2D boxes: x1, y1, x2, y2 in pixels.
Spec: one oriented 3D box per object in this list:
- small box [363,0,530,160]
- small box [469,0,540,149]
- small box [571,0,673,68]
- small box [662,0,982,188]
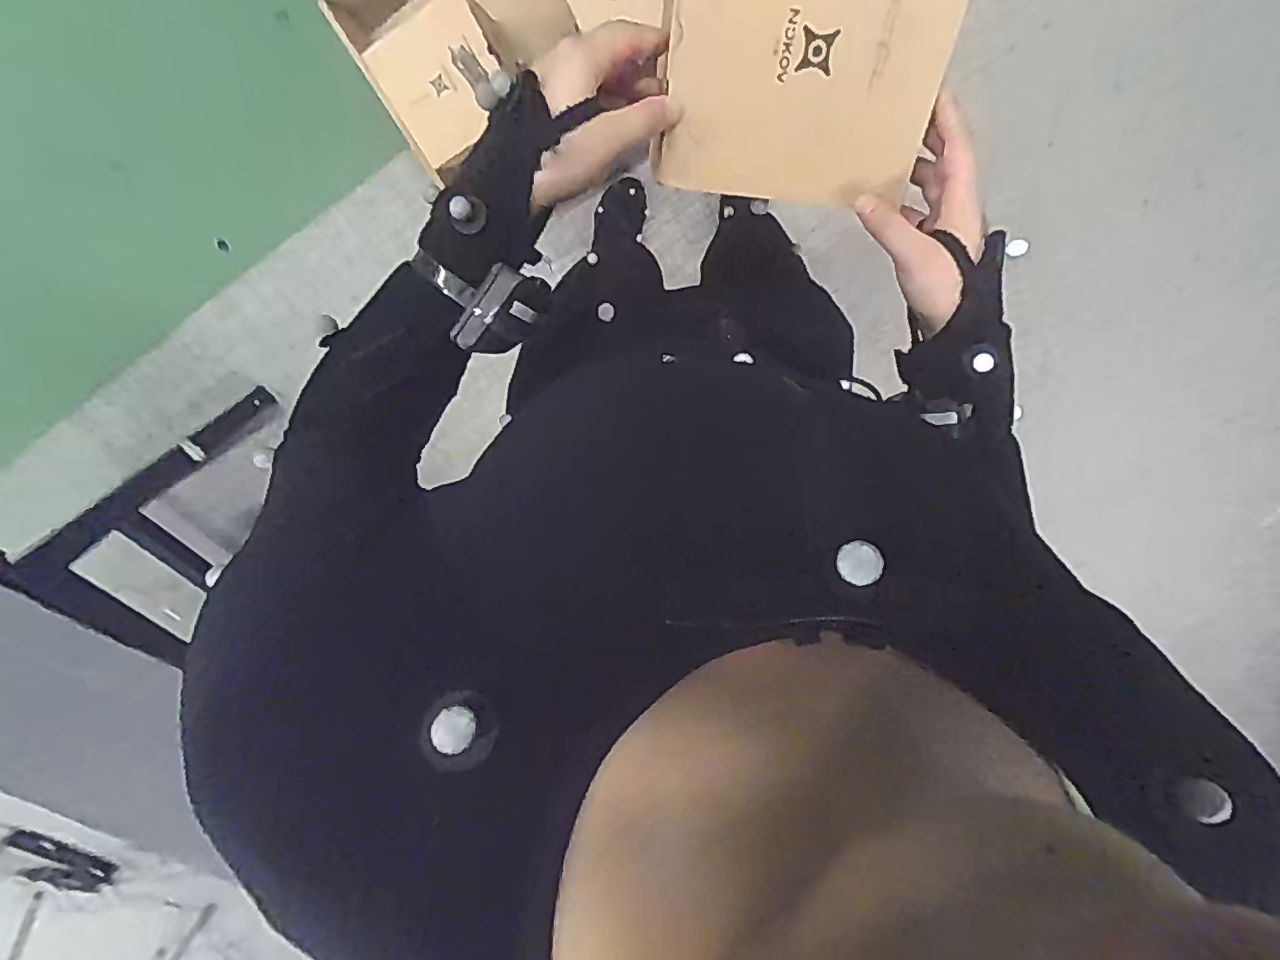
[{"bbox_3d":[-0.287,-0.637,0.852,0.179,0.176,0.168,-25,121,12],"label":"small box"},{"bbox_3d":[-0.300,-0.729,0.988,0.179,0.176,0.168,-26,122,11],"label":"small box"},{"bbox_3d":[-0.036,-0.849,0.931,0.168,0.176,0.179,-23,123,12],"label":"small box"},{"bbox_3d":[0.111,-0.316,0.386,0.179,0.176,0.168,2,125,-4],"label":"small box"}]
